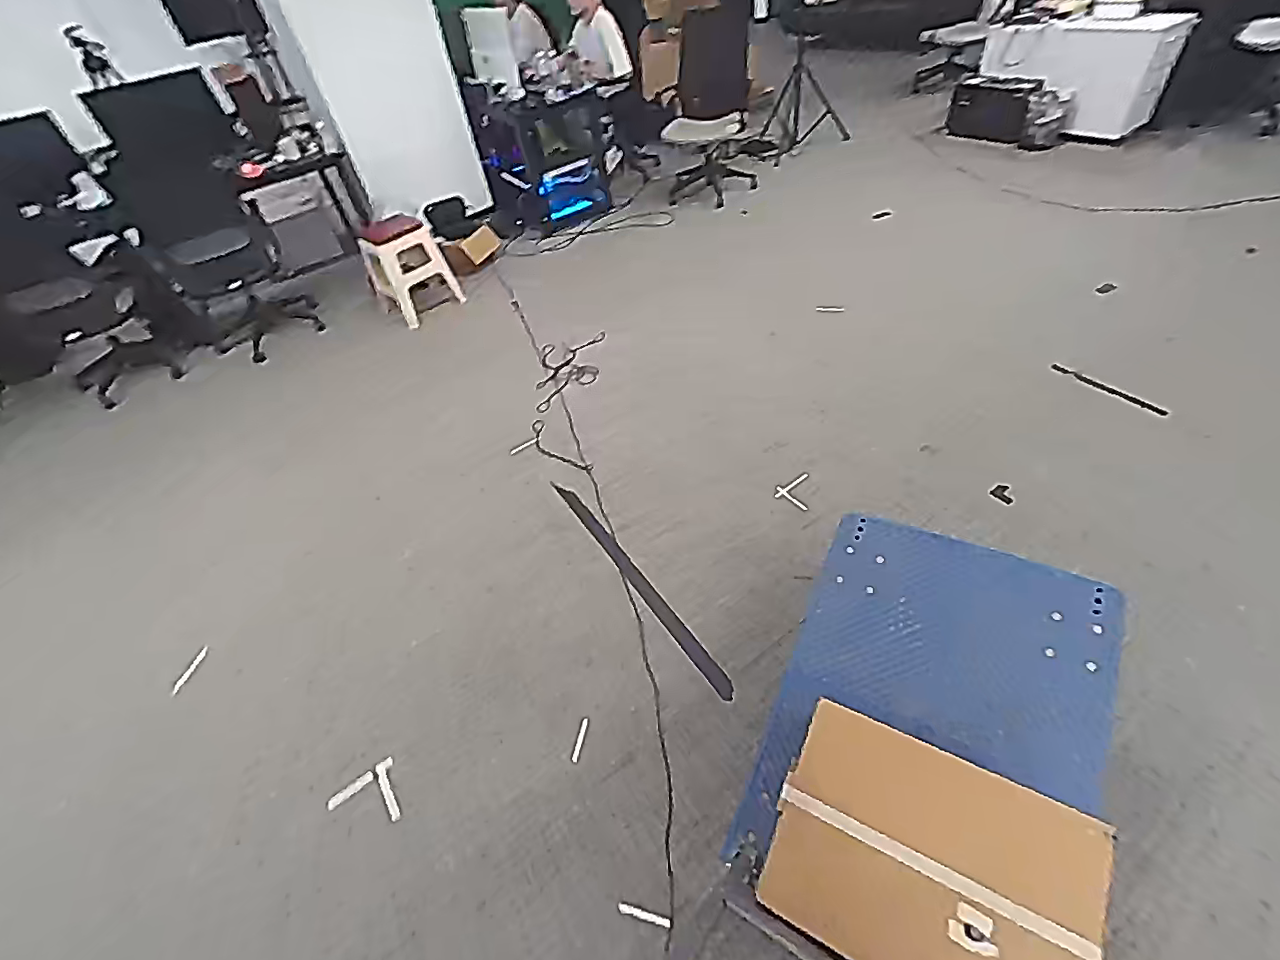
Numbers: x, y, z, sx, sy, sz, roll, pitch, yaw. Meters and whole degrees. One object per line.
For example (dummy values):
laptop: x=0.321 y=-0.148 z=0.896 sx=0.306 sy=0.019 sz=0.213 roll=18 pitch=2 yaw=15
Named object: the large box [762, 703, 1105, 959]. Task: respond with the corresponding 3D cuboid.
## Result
large box: x=0.453 y=0.627 z=0.911 sx=0.408 sy=0.320 sz=0.320 roll=18 pitch=68 yaw=25
